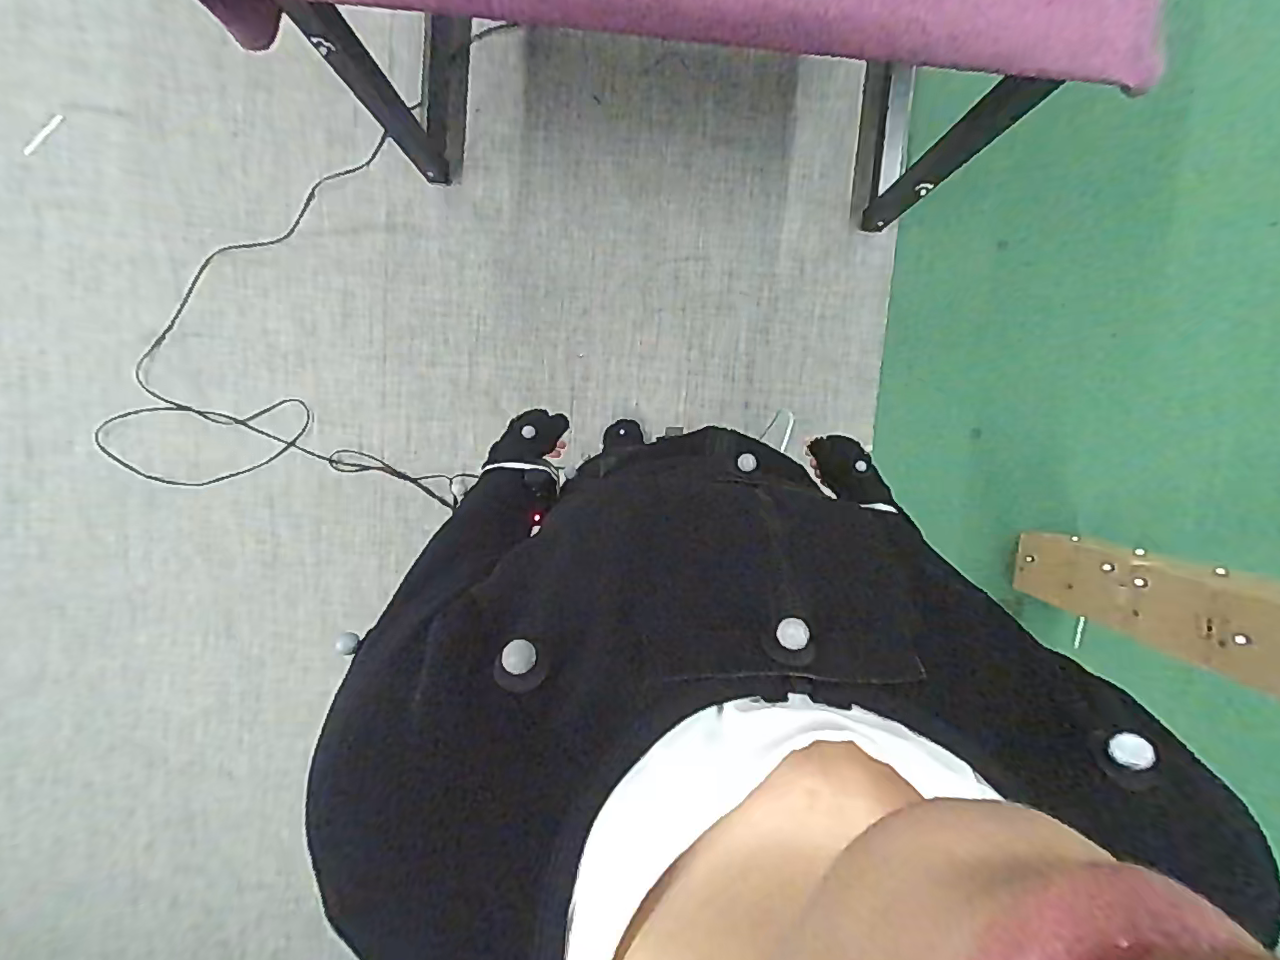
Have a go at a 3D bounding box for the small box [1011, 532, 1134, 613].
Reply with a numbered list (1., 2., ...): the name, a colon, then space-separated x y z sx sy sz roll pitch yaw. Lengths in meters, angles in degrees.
1. small box: 1.136 0.239 1.430 0.179 0.176 0.168 5 95 -1

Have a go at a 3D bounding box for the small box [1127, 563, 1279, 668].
1. small box: 1.153 0.270 1.103 0.179 0.176 0.168 0 96 -2

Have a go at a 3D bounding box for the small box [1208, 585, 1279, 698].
1. small box: 1.165 0.284 0.939 0.179 0.176 0.168 -1 95 -1
